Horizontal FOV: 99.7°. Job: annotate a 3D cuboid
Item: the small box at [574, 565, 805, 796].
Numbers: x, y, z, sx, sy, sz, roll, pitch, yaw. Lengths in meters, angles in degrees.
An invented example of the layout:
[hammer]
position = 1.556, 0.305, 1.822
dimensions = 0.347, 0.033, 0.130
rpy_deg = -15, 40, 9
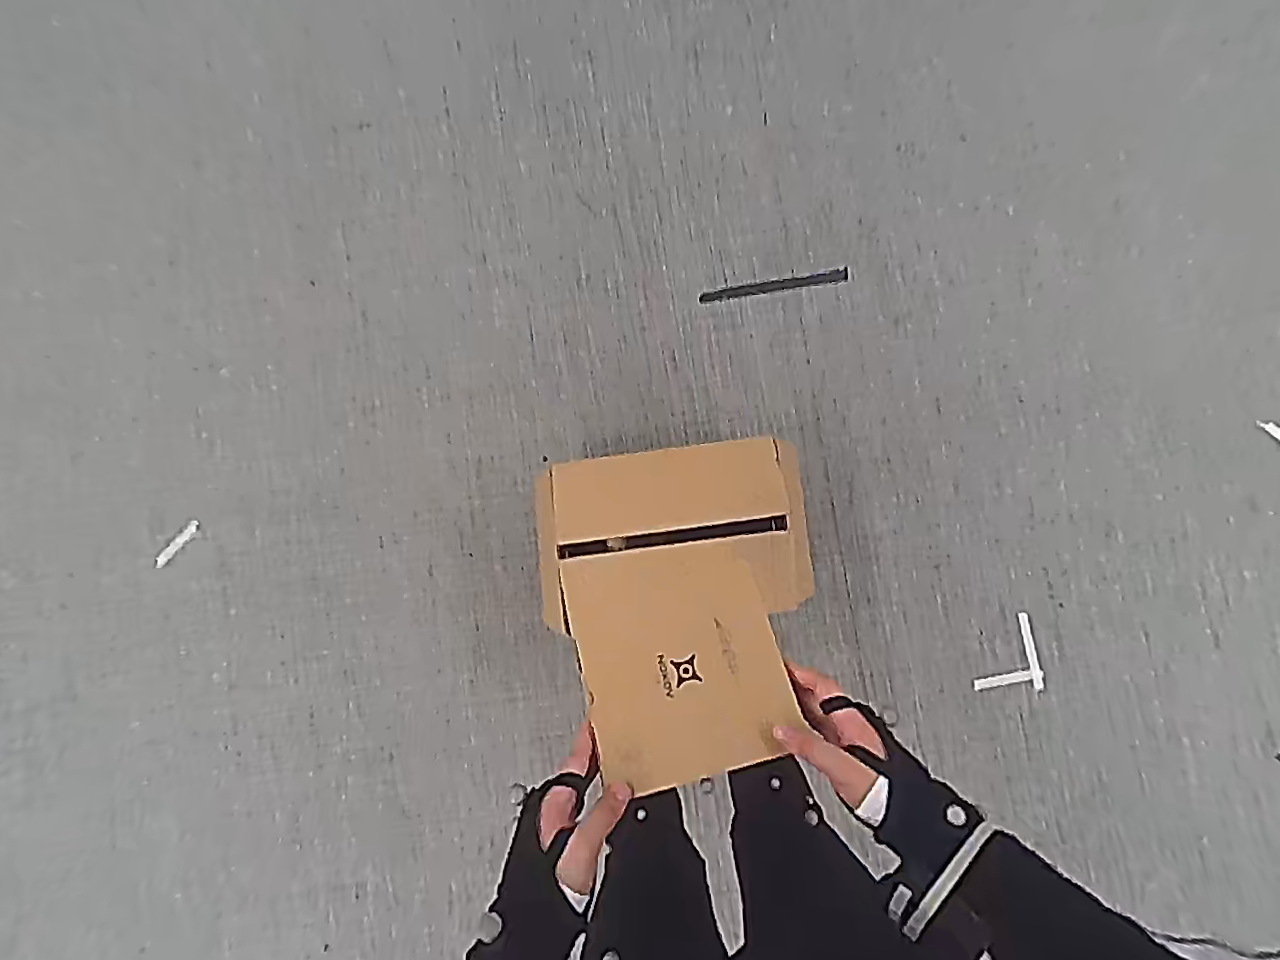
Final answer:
[small box]
position = 0.045, 0.207, 0.559
dimensions = 0.179, 0.176, 0.168
rpy_deg = -15, 66, -2
